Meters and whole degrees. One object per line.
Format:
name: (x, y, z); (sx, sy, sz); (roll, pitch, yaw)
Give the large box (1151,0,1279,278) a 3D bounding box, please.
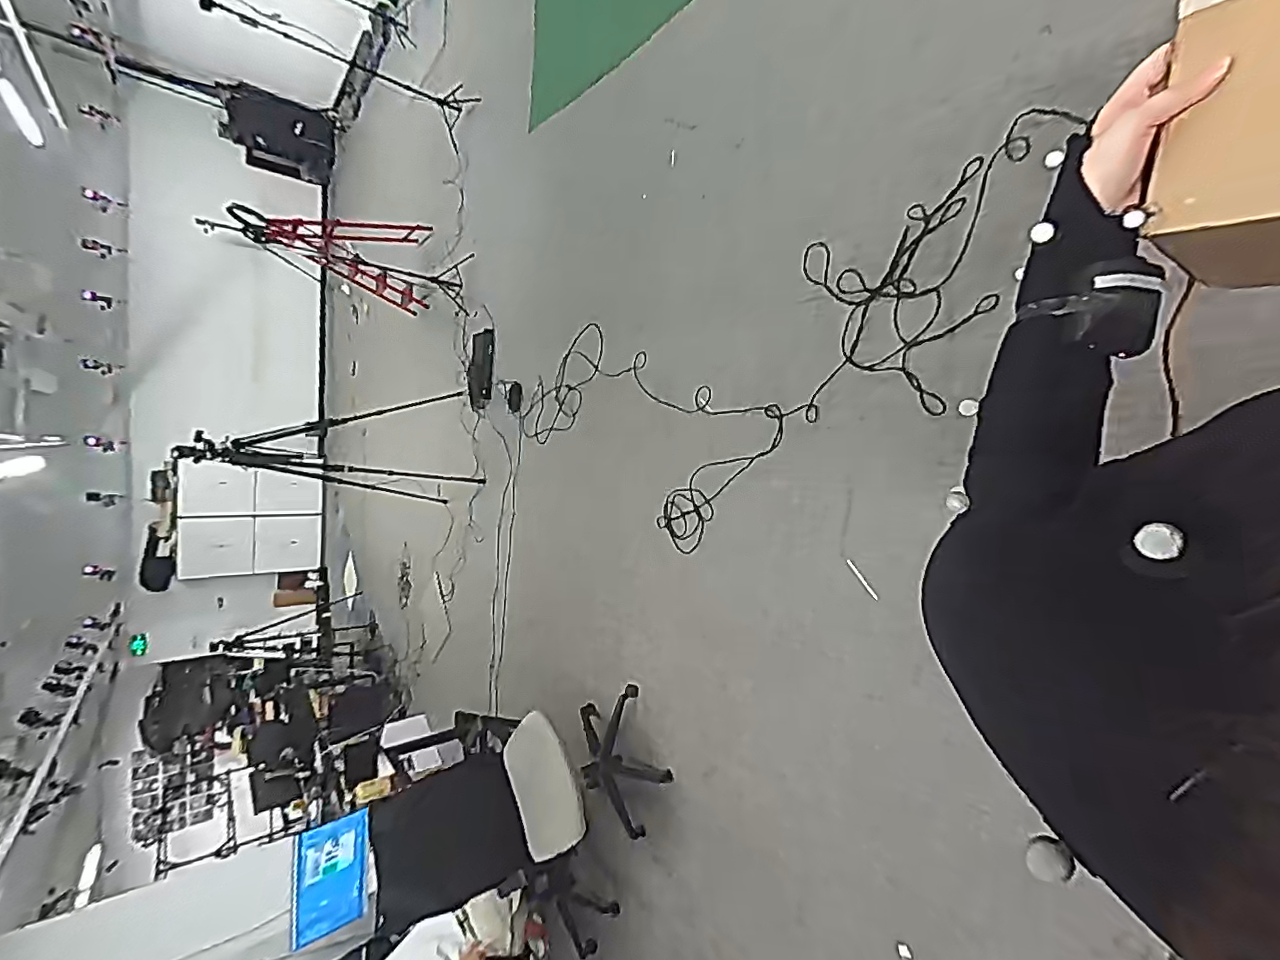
large box: (0.640, -0.325, 0.324); (0.408, 0.320, 0.320); (15, 106, 53)
